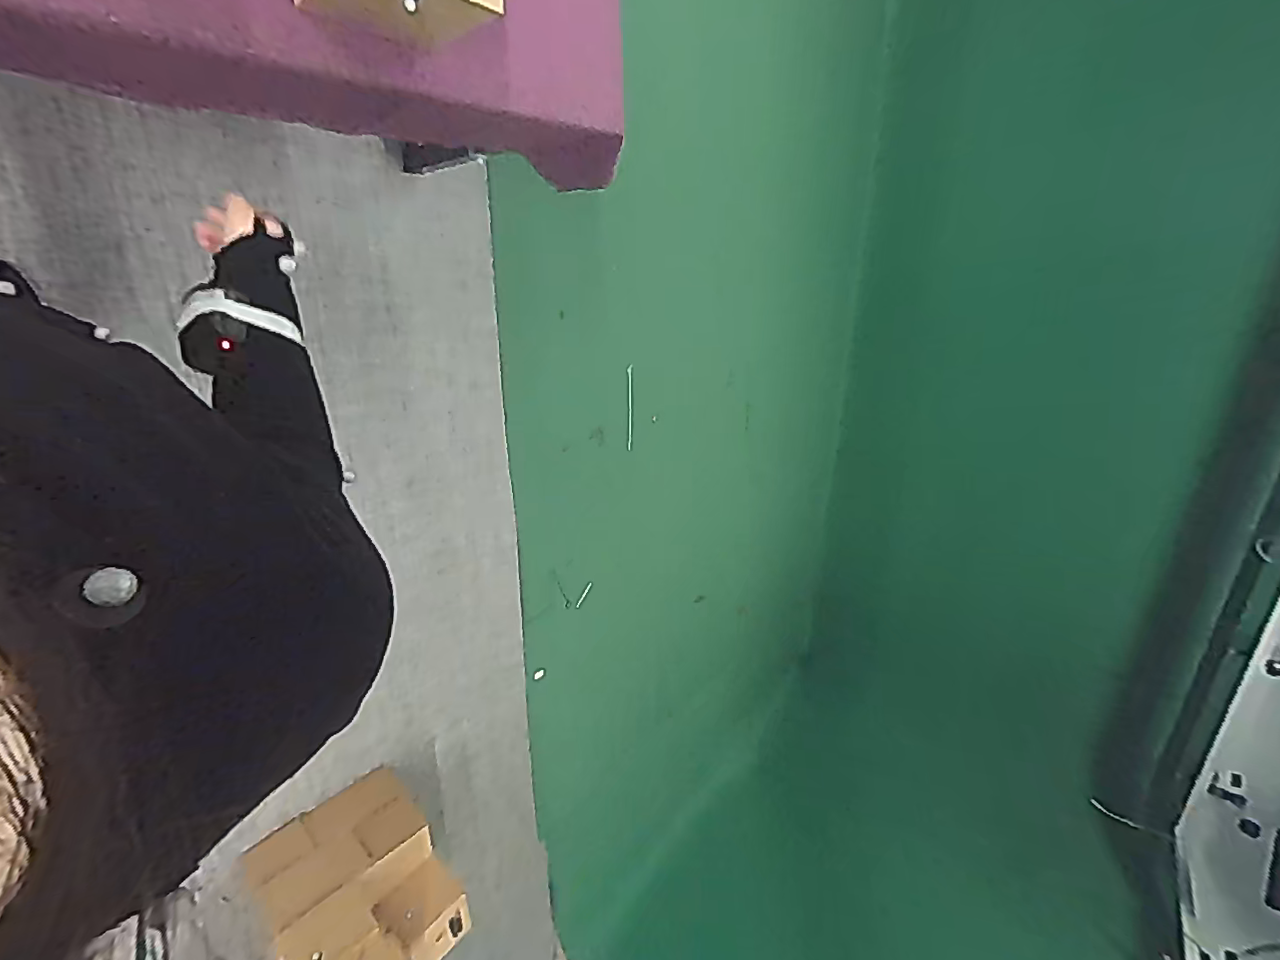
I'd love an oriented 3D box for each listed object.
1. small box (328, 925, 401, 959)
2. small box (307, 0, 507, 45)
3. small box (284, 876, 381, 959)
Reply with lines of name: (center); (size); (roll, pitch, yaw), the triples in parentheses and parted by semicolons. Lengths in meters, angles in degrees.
small box: (-0.640, 1.203, 1.253); (0.168, 0.176, 0.179); (-19, 117, -45)
small box: (-0.279, -0.631, 0.612); (0.179, 0.176, 0.168); (-23, 120, -46)
small box: (-0.763, 1.160, 1.351); (0.179, 0.176, 0.168); (-19, 119, -45)
